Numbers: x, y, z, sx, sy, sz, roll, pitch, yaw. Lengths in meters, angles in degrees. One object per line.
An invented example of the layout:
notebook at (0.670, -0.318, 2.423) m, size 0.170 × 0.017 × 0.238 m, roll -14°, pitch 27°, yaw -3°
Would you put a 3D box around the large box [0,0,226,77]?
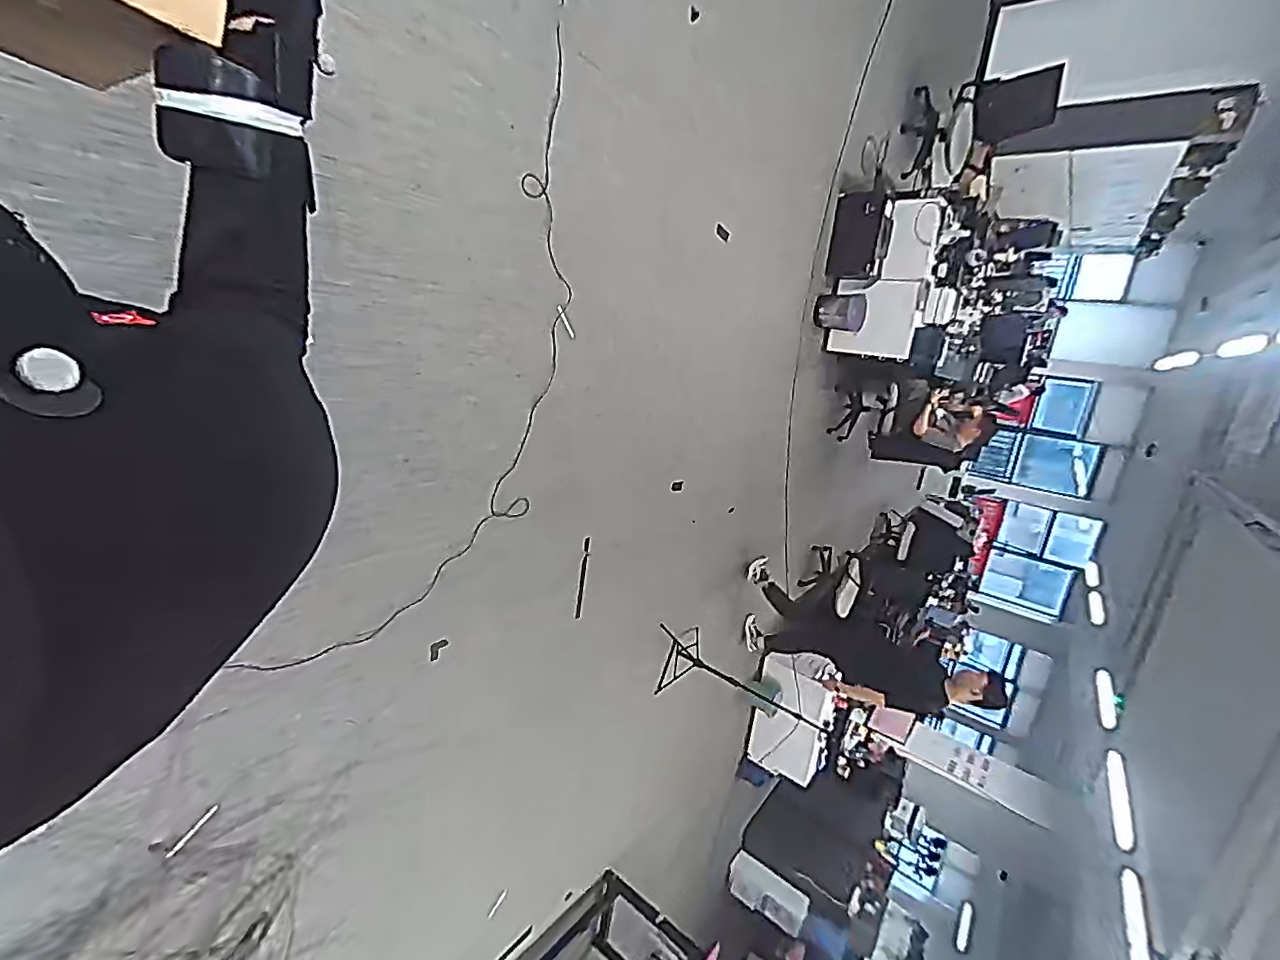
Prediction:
large box at (-0.458, -0.456, 0.225) m, size 0.408 × 0.320 × 0.320 m, roll -3°, pitch 111°, yaw -55°
